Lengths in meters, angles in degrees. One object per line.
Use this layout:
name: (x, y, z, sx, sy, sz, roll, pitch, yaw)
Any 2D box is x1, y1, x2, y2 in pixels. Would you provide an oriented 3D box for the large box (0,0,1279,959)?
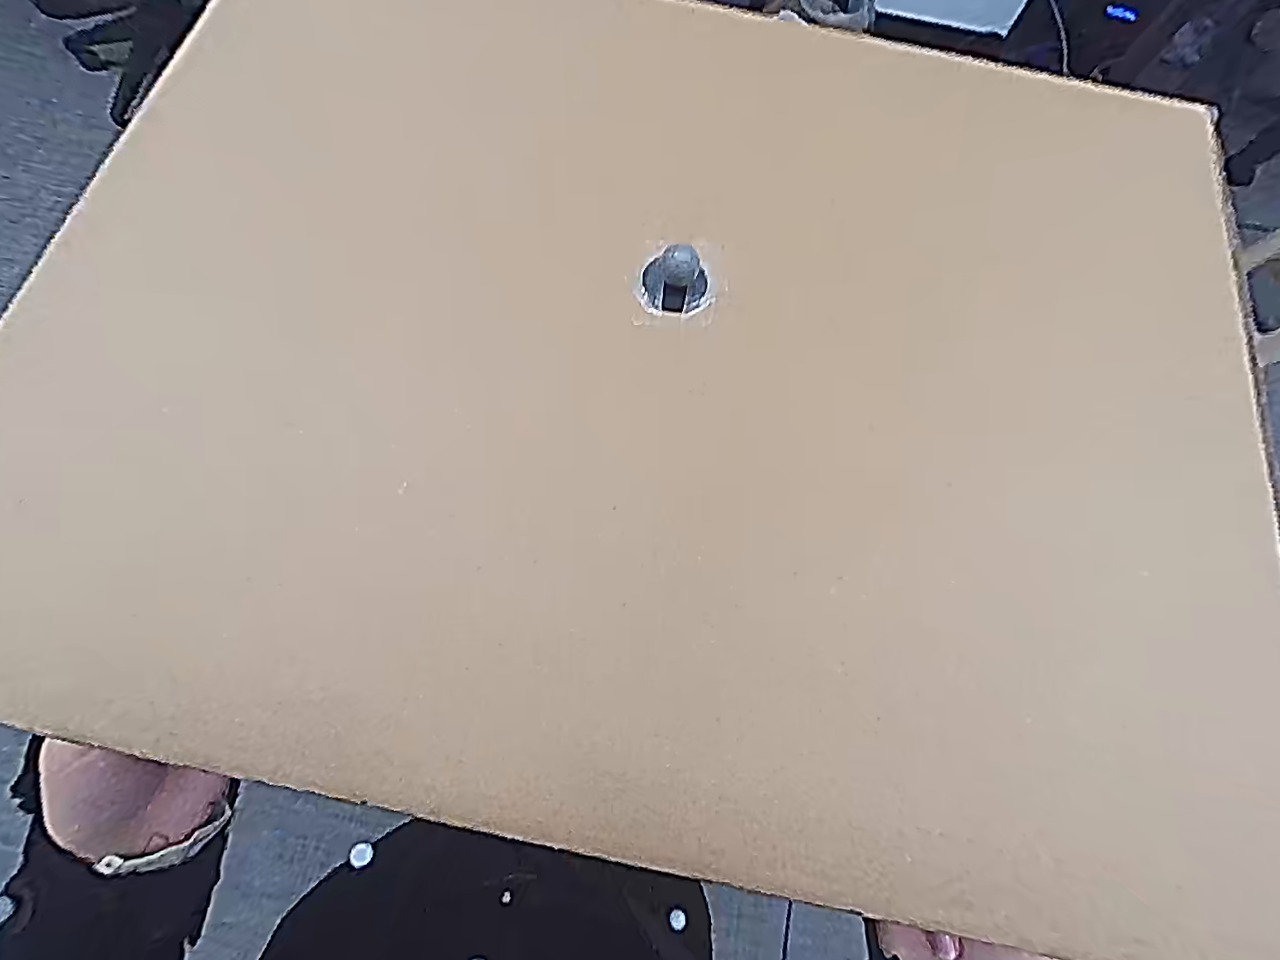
large box: (-0.014, -0.013, 0.320, 0.408, 0.320, 0.320, 10, 73, 1)
